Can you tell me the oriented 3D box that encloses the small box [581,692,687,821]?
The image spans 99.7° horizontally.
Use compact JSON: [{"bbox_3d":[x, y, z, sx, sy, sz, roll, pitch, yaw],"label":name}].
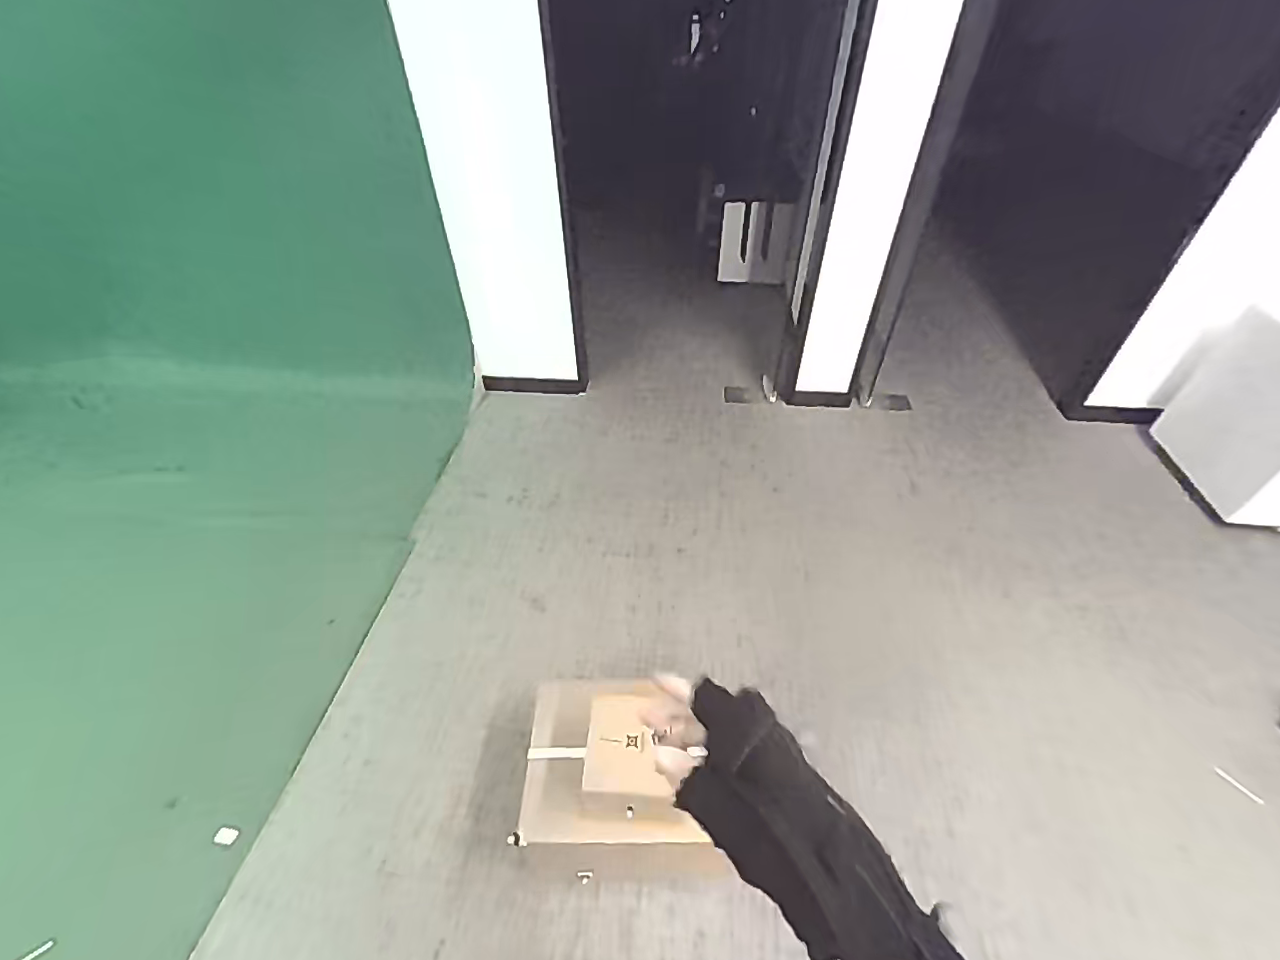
[{"bbox_3d":[-0.005,0.515,1.003,0.179,0.176,0.168,2,44,4],"label":"small box"}]
